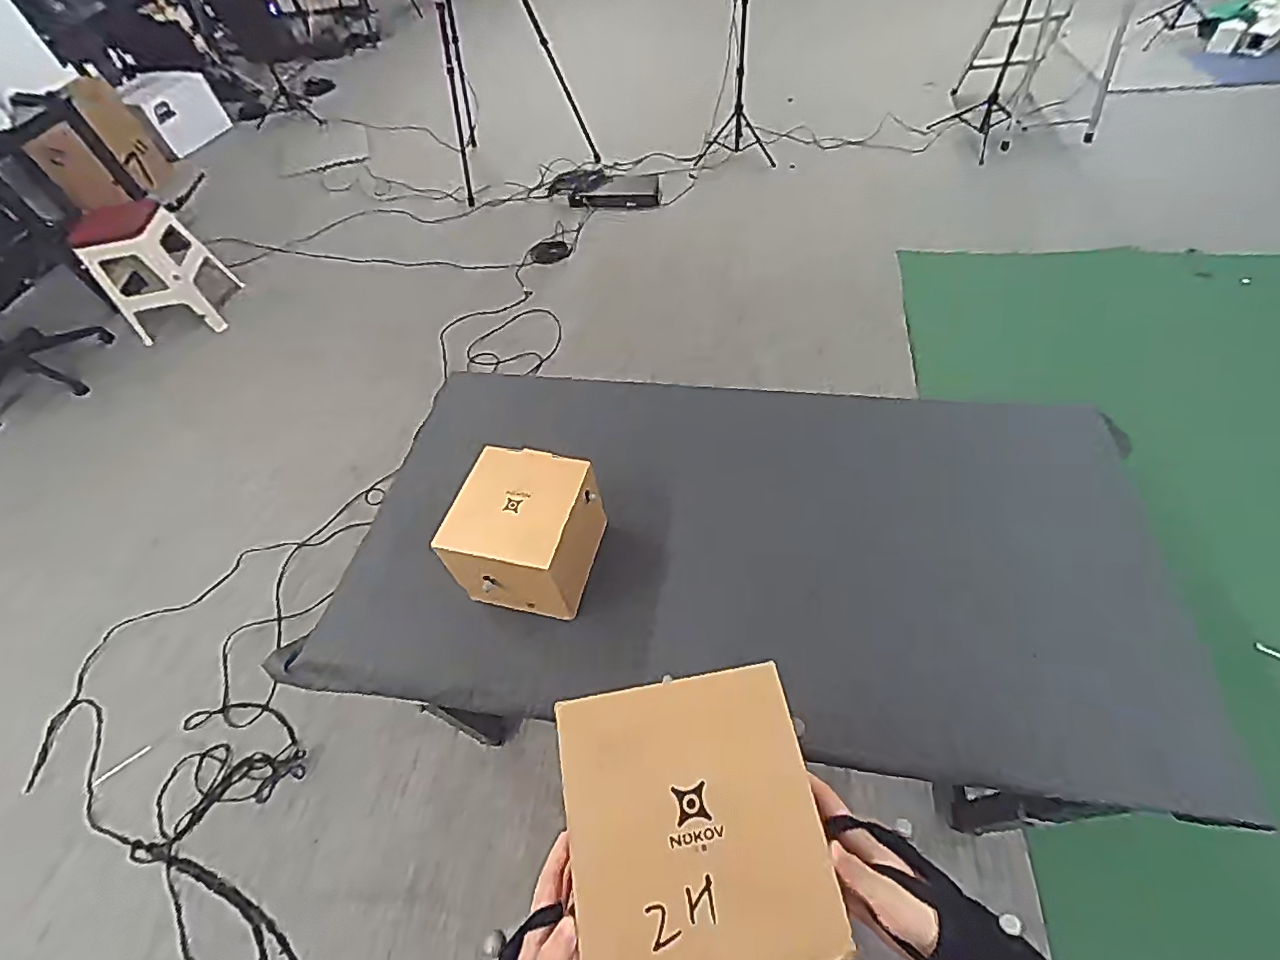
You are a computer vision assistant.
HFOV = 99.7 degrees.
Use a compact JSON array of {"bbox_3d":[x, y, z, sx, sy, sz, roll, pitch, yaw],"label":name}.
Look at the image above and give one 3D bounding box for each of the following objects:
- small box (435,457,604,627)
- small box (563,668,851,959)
[{"bbox_3d":[-0.158,0.094,0.788,0.168,0.176,0.179,9,53,12],"label":"small box"},{"bbox_3d":[0.036,0.265,0.429,0.168,0.176,0.179,-9,61,-3],"label":"small box"}]
